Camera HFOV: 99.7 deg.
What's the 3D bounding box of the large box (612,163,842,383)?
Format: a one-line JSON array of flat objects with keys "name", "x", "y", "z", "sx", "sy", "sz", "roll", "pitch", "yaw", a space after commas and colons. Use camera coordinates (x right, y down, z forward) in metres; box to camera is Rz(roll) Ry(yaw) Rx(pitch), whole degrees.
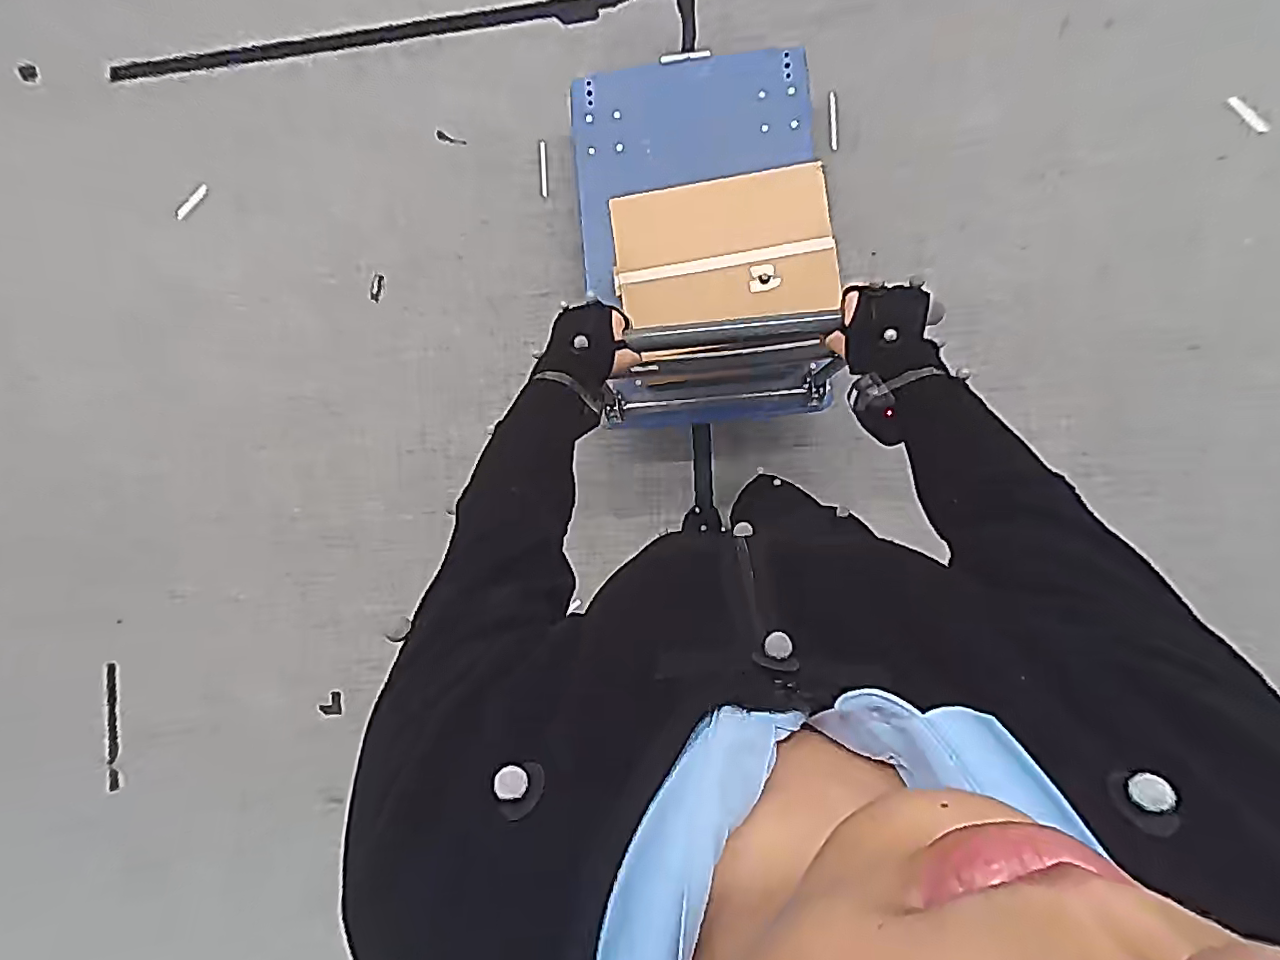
[{"name": "large box", "x": 0.171, "y": -0.417, "z": 1.176, "sx": 0.408, "sy": 0.320, "sz": 0.320, "roll": -8, "pitch": 90, "yaw": 4}]
